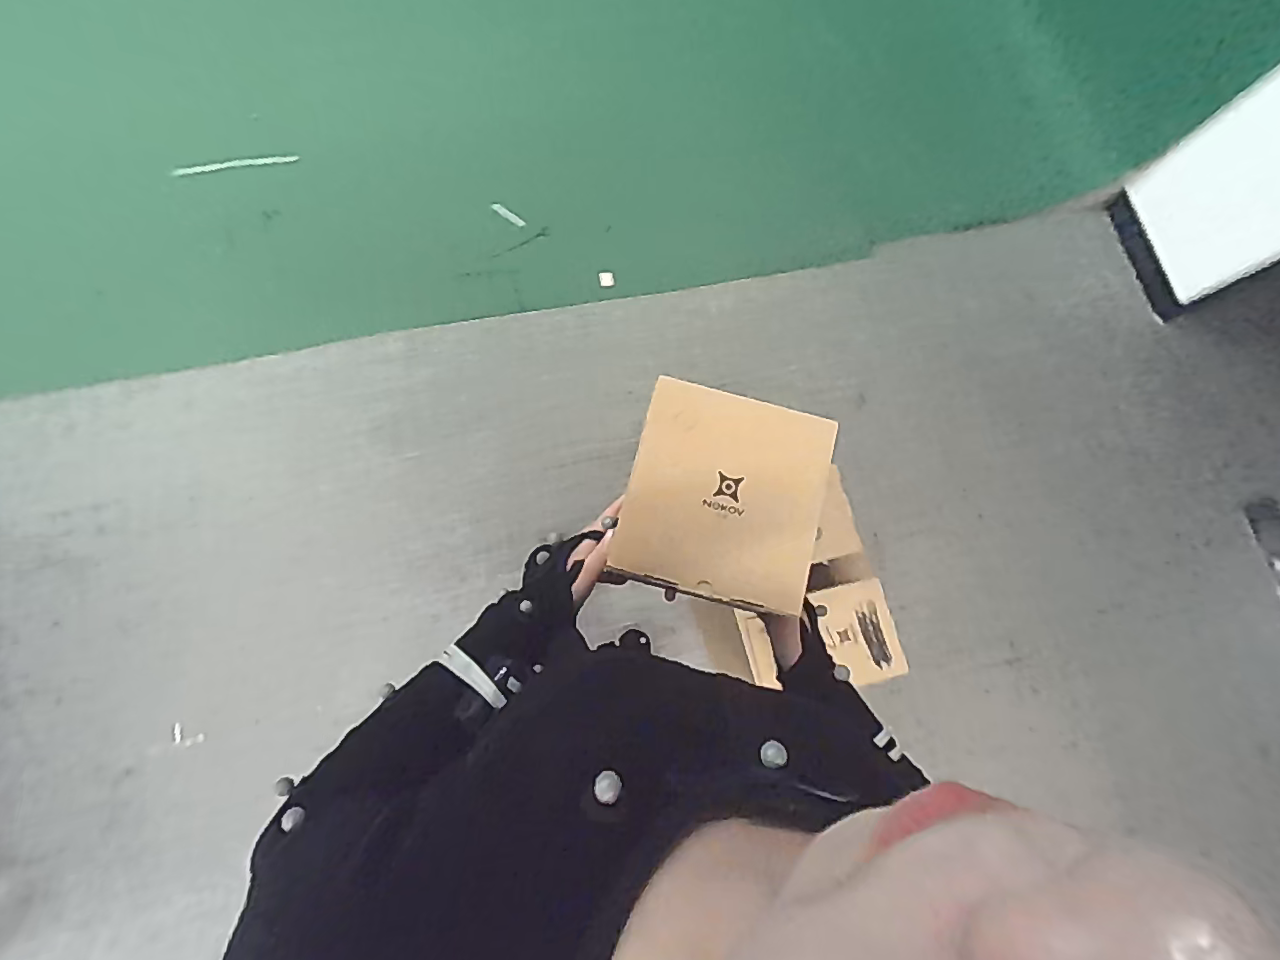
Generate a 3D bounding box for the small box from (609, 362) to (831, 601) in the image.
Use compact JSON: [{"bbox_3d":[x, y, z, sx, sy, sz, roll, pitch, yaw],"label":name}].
[{"bbox_3d":[0.065,0.011,0.539,0.168,0.176,0.179,14,80,-2],"label":"small box"}]
